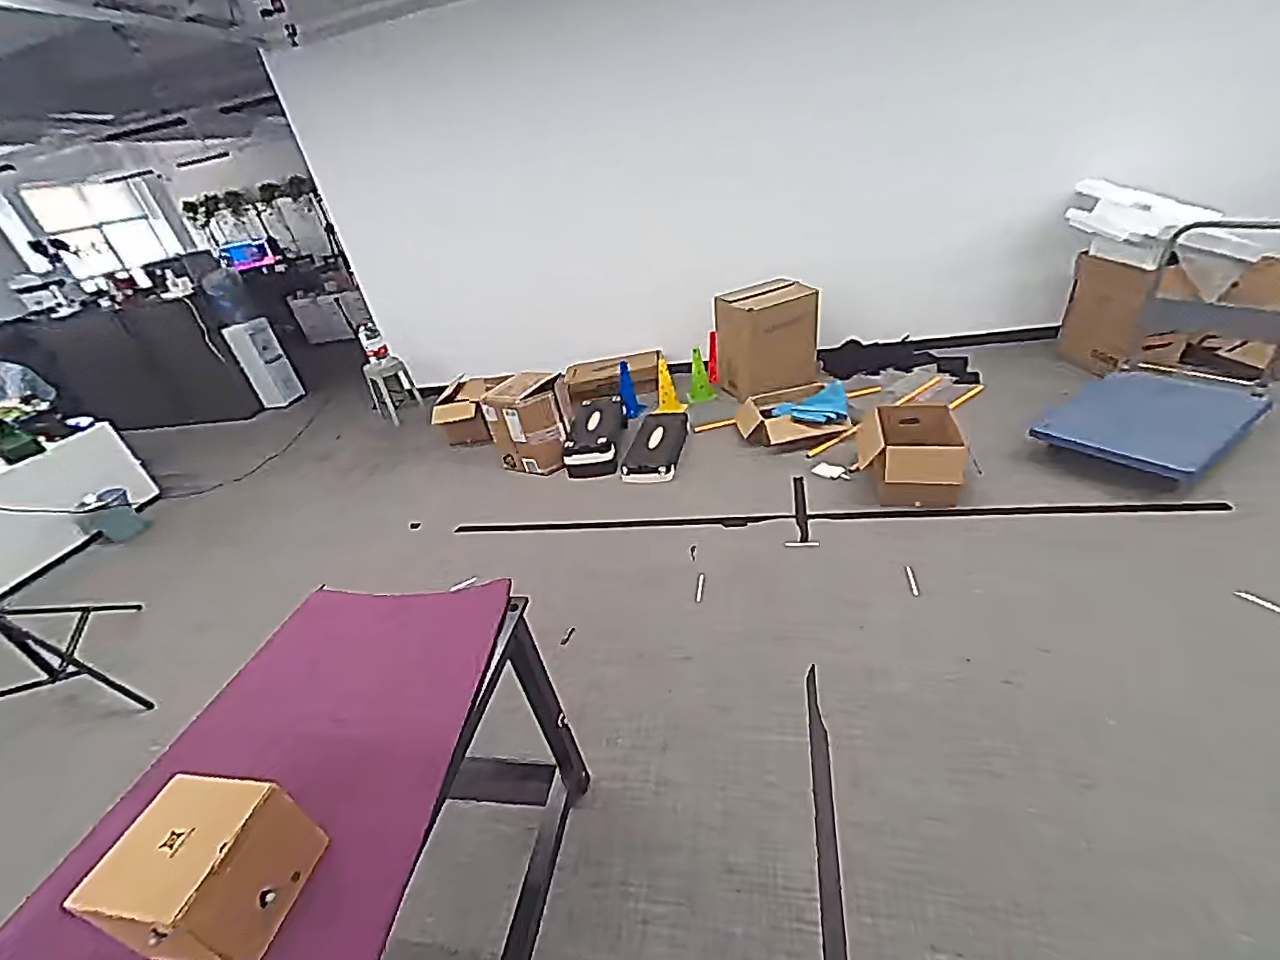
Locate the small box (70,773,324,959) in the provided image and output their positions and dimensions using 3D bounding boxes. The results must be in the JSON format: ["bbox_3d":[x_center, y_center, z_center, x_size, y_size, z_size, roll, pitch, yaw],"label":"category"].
[{"bbox_3d":[-0.592,0.538,0.749,0.179,0.176,0.168,-3,32,13],"label":"small box"}]
